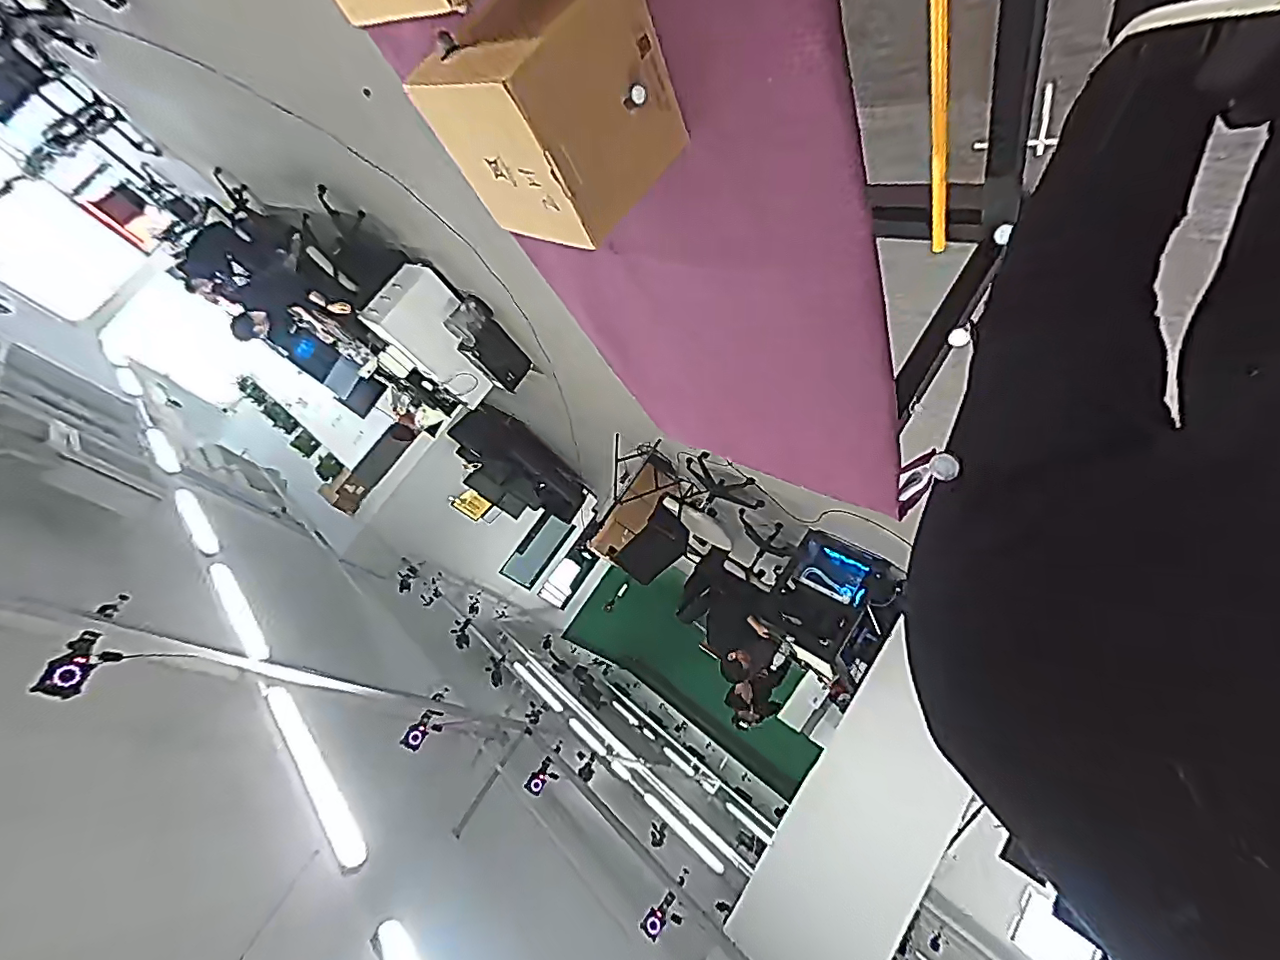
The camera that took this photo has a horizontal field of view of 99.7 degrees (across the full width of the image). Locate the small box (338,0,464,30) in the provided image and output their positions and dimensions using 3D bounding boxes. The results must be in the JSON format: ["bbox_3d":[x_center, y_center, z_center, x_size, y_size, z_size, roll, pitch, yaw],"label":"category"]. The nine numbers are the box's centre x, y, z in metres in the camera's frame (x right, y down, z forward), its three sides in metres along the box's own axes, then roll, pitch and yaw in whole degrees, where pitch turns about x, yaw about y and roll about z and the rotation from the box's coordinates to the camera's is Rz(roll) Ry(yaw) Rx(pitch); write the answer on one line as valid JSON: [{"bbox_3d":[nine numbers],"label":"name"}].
[{"bbox_3d":[-0.174,-0.473,0.389,0.179,0.176,0.168,29,168,35],"label":"small box"}]

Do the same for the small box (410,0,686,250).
[{"bbox_3d":[-0.084,-0.370,0.549,0.179,0.176,0.168,29,167,35],"label":"small box"}]
